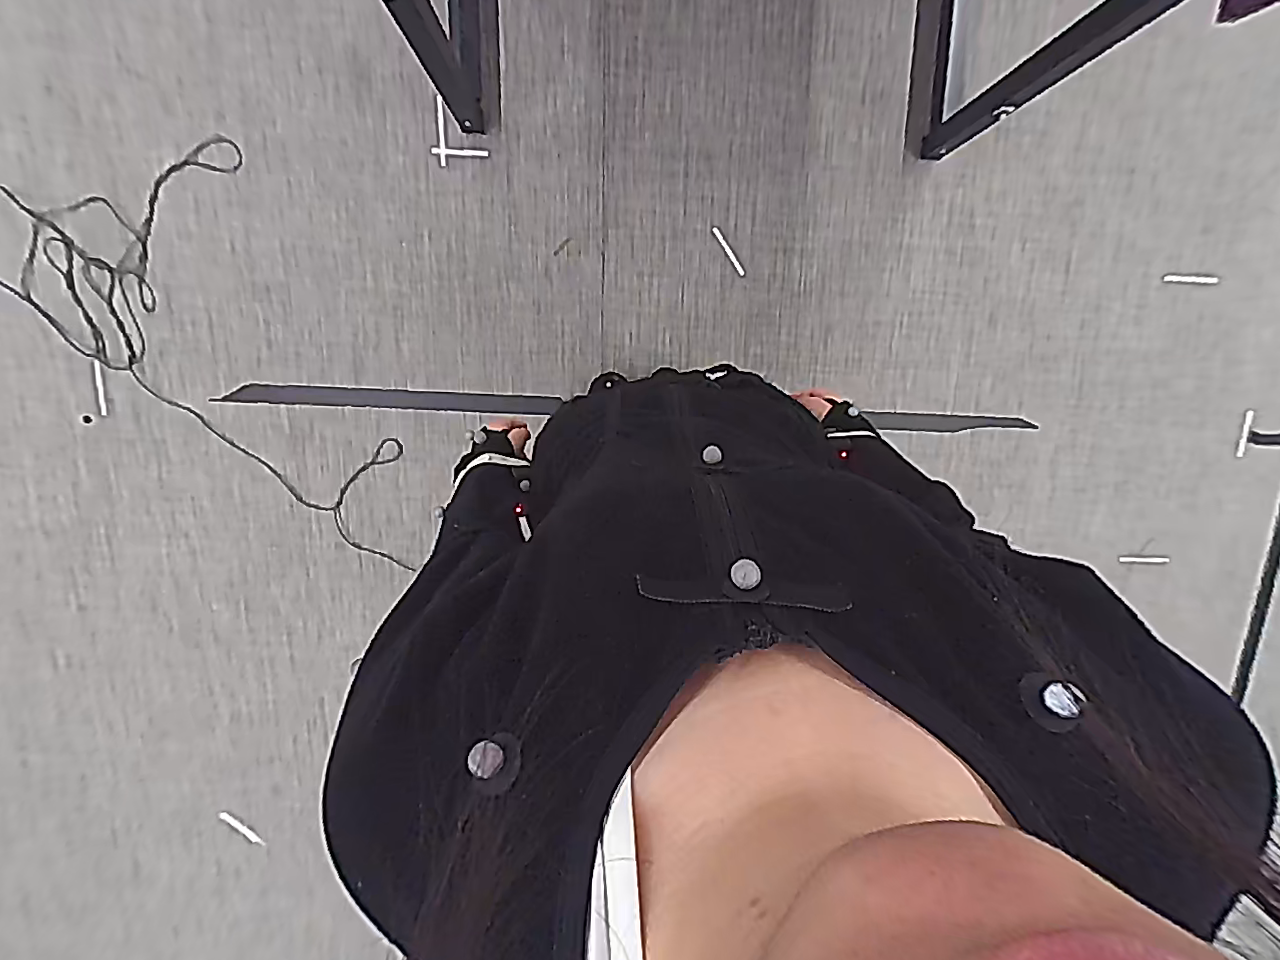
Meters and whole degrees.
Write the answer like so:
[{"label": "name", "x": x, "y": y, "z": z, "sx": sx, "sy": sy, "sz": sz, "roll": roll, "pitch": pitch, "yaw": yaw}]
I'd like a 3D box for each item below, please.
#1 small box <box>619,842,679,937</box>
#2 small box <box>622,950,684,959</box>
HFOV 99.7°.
[{"label": "small box", "x": 0.022, "y": 1.250, "z": 1.660, "sx": 0.168, "sy": 0.176, "sz": 0.179, "roll": 4, "pitch": 102, "yaw": -3}, {"label": "small box", "x": 0.035, "y": 1.320, "z": 1.339, "sx": 0.168, "sy": 0.176, "sz": 0.179, "roll": 1, "pitch": 101, "yaw": -3}]
